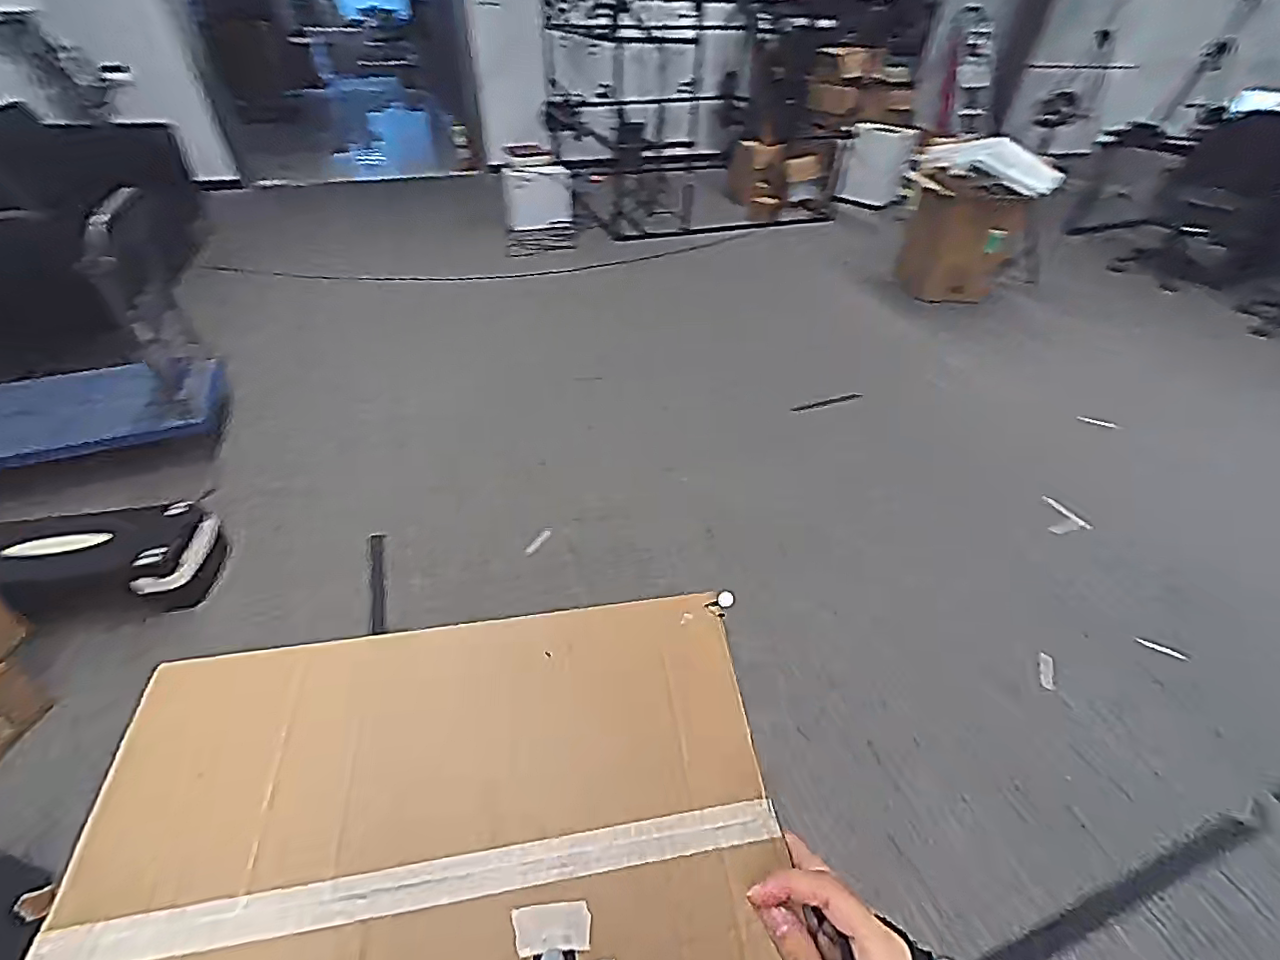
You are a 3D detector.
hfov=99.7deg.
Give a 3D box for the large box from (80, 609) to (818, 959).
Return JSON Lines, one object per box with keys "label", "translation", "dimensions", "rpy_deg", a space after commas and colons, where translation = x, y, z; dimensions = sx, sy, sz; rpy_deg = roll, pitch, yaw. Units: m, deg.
{"label": "large box", "translation": [-0.112, 0.334, 0.427], "dimensions": [0.408, 0.320, 0.320], "rpy_deg": [-5, 51, -7]}
